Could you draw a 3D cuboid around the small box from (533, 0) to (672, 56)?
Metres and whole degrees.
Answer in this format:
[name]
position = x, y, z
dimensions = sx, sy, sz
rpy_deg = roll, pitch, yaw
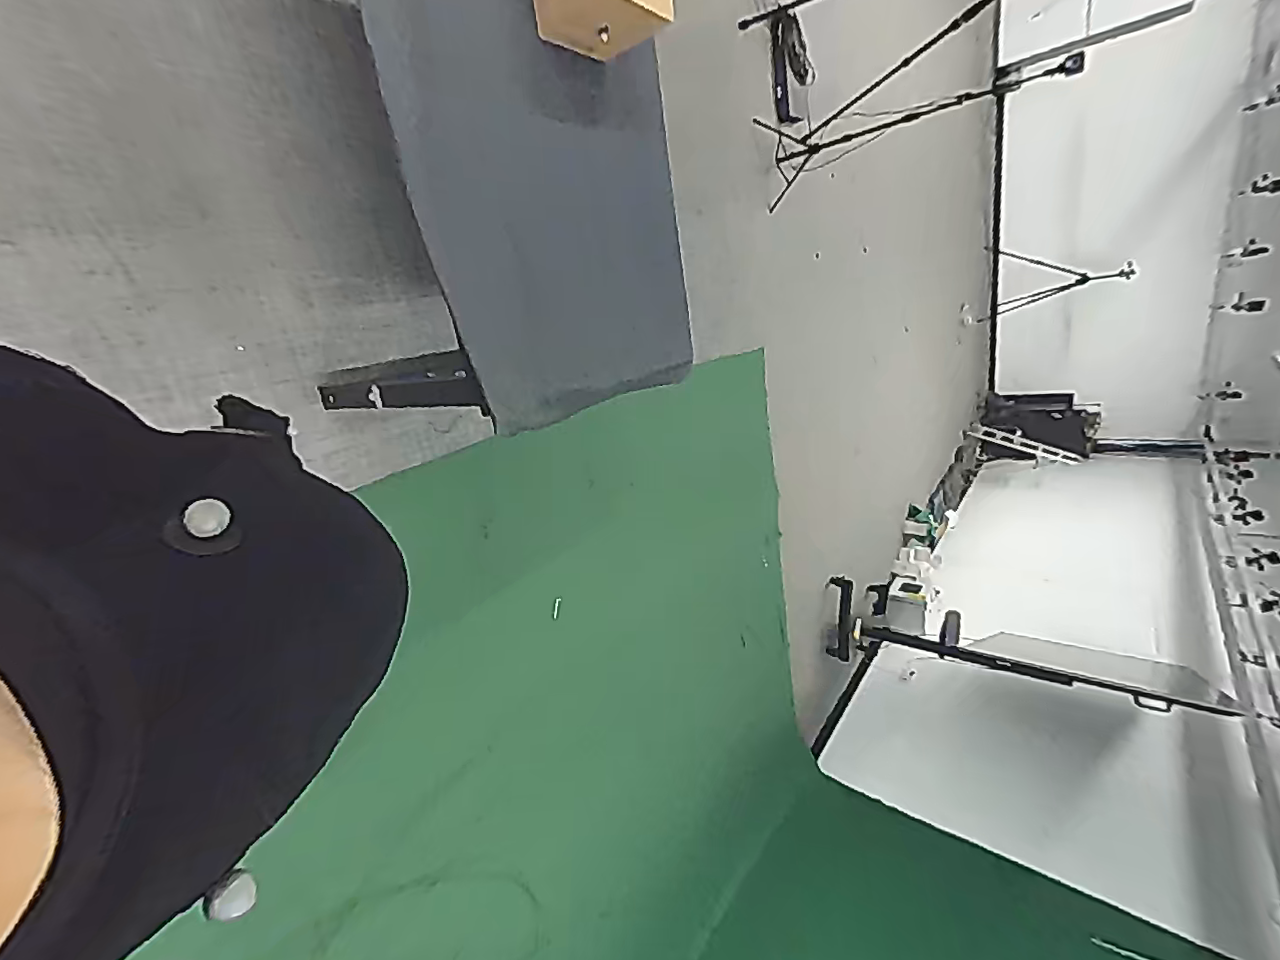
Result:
[small box]
position = -0.070, -0.841, 0.885
dimensions = 0.168, 0.176, 0.179
rpy_deg = -25, 114, -46
